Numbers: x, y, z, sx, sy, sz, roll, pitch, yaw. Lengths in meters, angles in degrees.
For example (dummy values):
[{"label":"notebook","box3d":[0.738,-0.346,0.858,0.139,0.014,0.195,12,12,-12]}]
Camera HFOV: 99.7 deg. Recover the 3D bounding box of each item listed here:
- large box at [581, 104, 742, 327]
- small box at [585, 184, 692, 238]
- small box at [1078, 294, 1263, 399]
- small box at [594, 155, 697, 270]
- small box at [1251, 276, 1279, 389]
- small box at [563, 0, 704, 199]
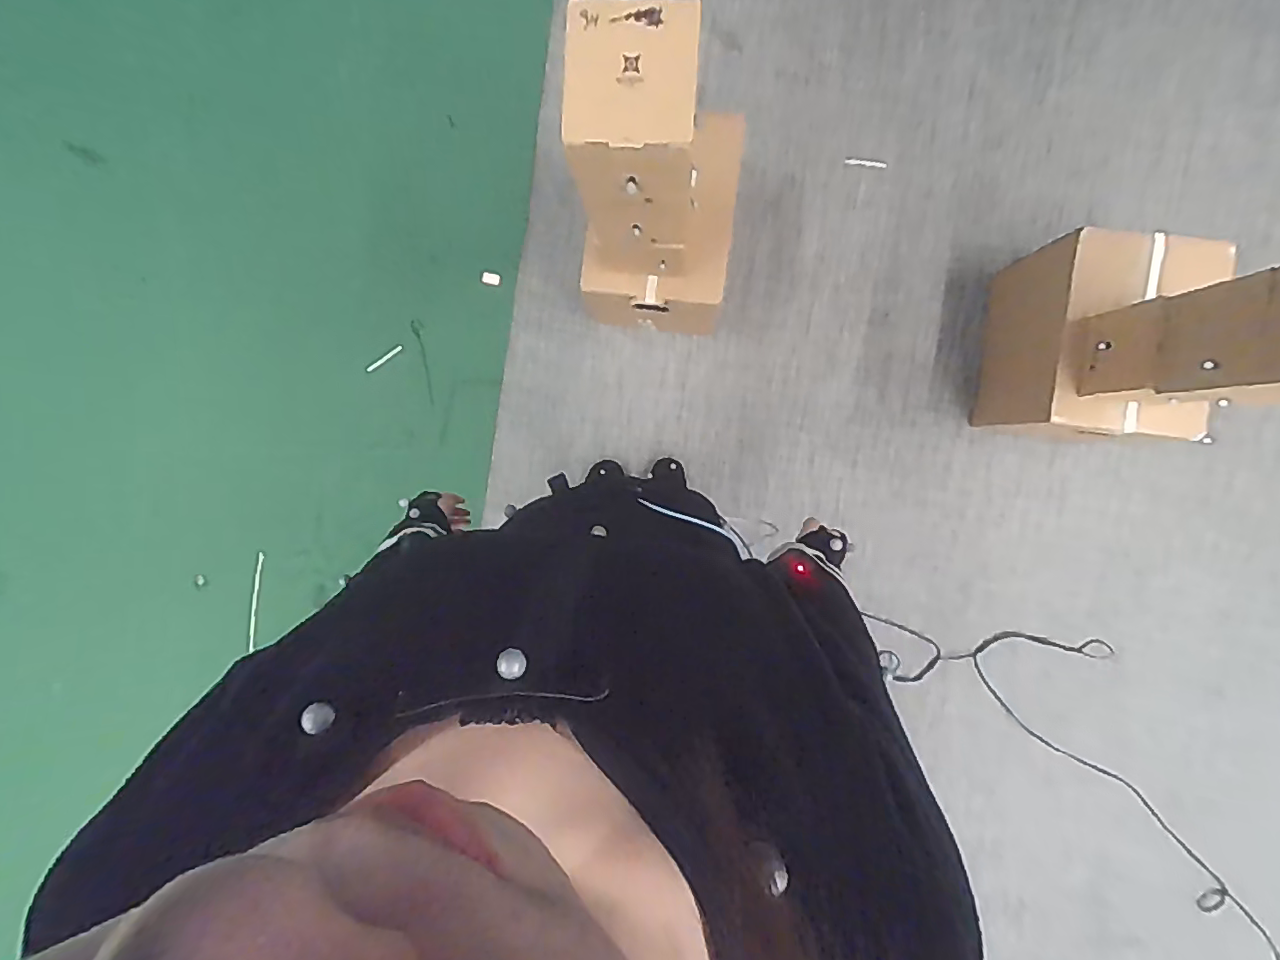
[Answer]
[{"label":"large box","box3d":[0.053,-0.610,1.303,0.320,0.320,0.408,7,94,3]},{"label":"small box","box3d":[0.005,-0.520,0.903,0.168,0.176,0.179,2,93,3]},{"label":"small box","box3d":[0.999,-0.246,1.034,0.179,0.176,0.168,6,95,4]},{"label":"small box","box3d":[0.013,-0.525,1.067,0.179,0.176,0.168,6,94,4]},{"label":"small box","box3d":[0.982,-0.207,0.707,0.168,0.176,0.179,9,97,4]},{"label":"small box","box3d":[-0.004,-0.507,0.739,0.168,0.176,0.179,4,94,3]}]
